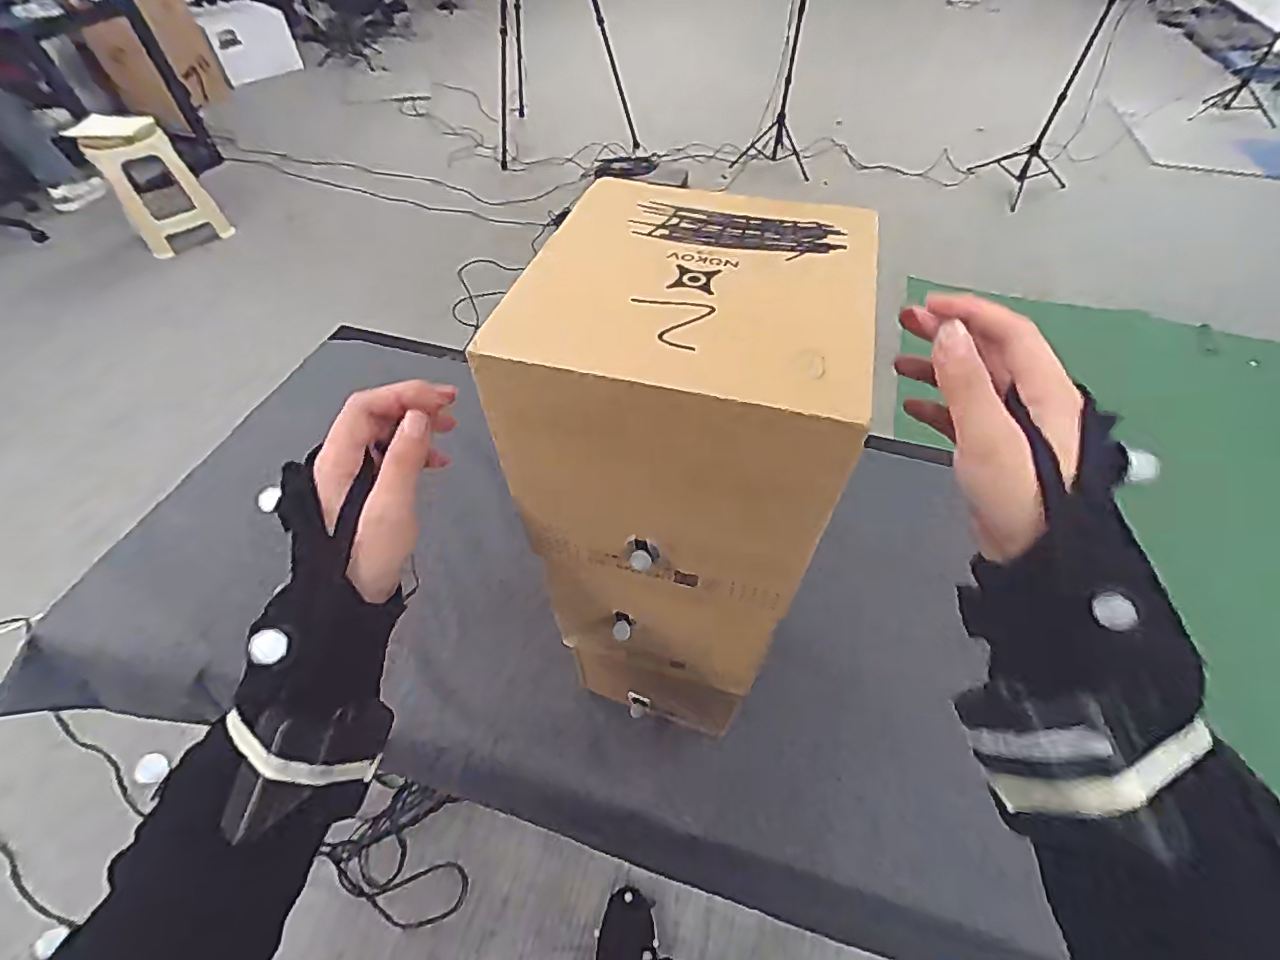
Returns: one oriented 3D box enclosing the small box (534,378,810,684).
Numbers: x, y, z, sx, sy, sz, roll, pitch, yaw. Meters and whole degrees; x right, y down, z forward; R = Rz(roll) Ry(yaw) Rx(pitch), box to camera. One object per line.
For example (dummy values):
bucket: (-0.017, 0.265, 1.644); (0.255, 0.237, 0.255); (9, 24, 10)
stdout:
small box: (0.033, 0.046, 0.451); (0.168, 0.176, 0.179); (12, 52, 11)

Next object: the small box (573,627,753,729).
small box: (0.041, 0.140, 0.583); (0.168, 0.176, 0.179); (13, 54, 11)
